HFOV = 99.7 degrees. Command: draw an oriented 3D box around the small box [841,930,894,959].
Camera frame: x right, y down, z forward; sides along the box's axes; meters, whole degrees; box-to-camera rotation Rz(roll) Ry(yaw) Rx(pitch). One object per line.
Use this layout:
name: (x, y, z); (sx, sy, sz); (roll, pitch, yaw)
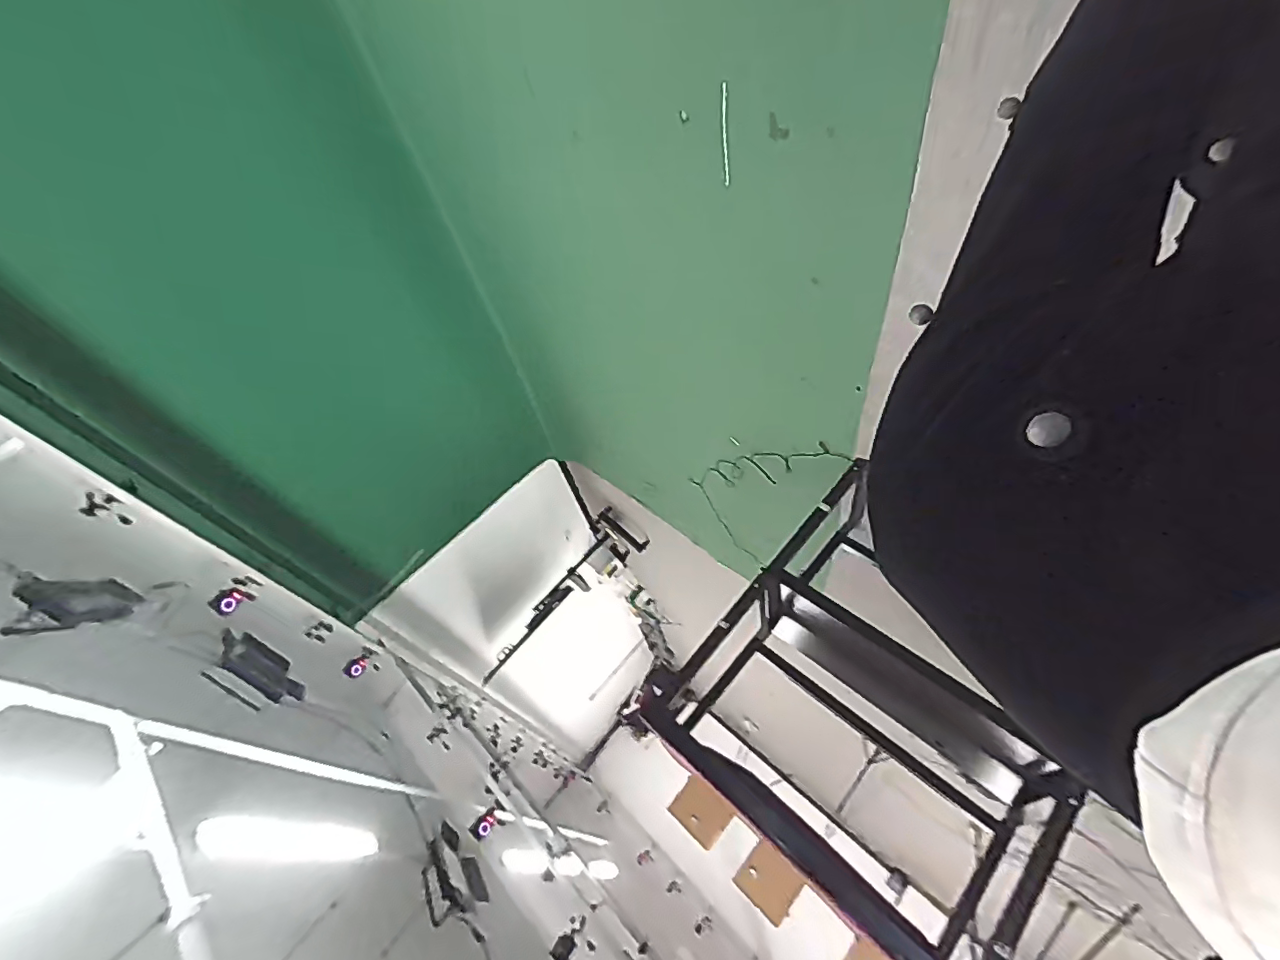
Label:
small box: (0.661, 1.421, 1.525); (0.179, 0.176, 0.168); (32, 157, 34)

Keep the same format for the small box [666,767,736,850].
small box: (0.216, 1.129, 1.859); (0.179, 0.176, 0.168); (34, 156, 30)
